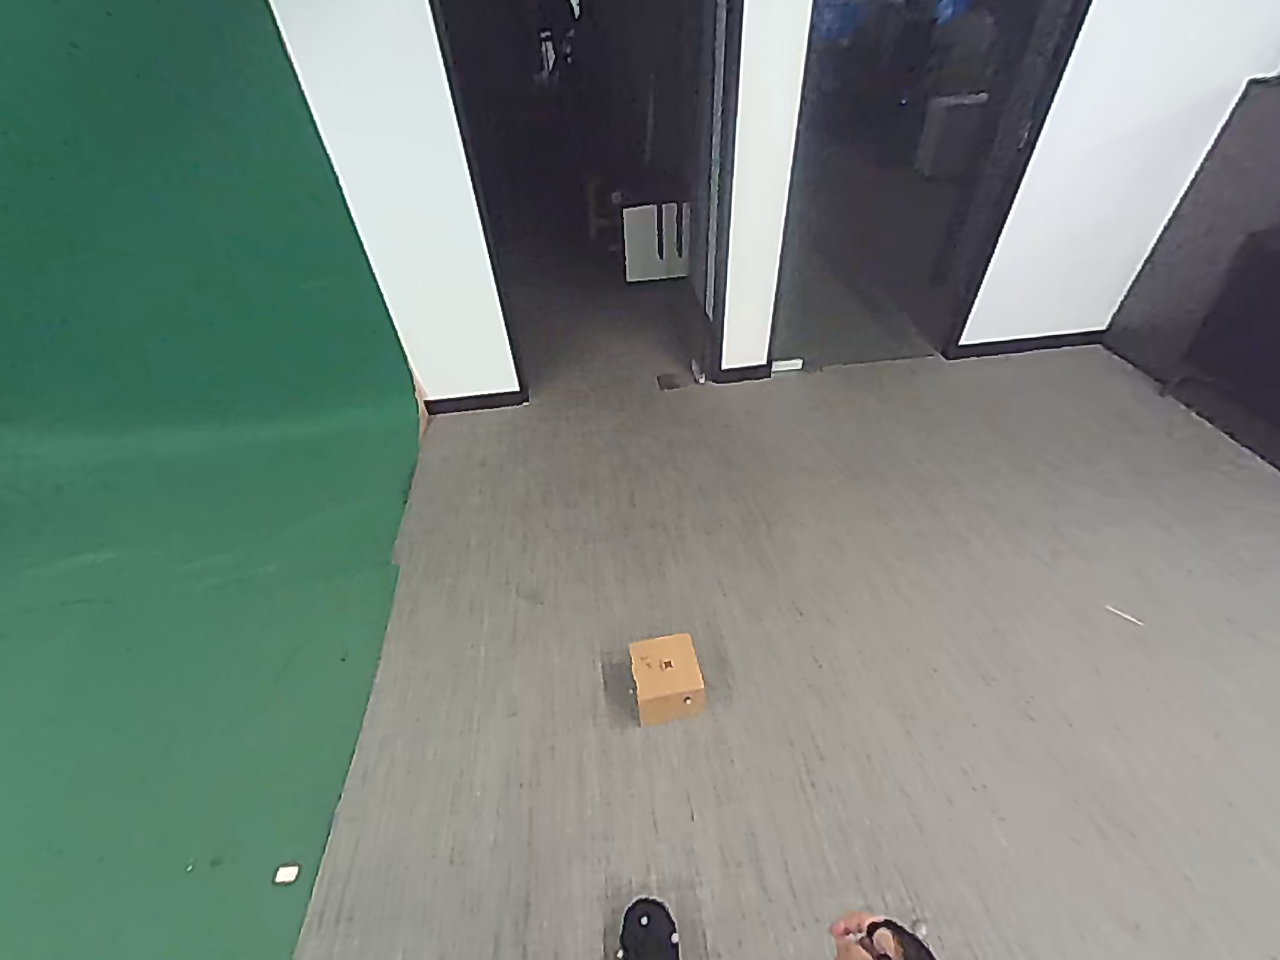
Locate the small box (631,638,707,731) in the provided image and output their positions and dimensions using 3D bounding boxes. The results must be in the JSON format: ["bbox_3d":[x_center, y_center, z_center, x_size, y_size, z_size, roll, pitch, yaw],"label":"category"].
[{"bbox_3d":[0.076,0.561,1.478,0.179,0.176,0.168,-9,43,-5],"label":"small box"}]
